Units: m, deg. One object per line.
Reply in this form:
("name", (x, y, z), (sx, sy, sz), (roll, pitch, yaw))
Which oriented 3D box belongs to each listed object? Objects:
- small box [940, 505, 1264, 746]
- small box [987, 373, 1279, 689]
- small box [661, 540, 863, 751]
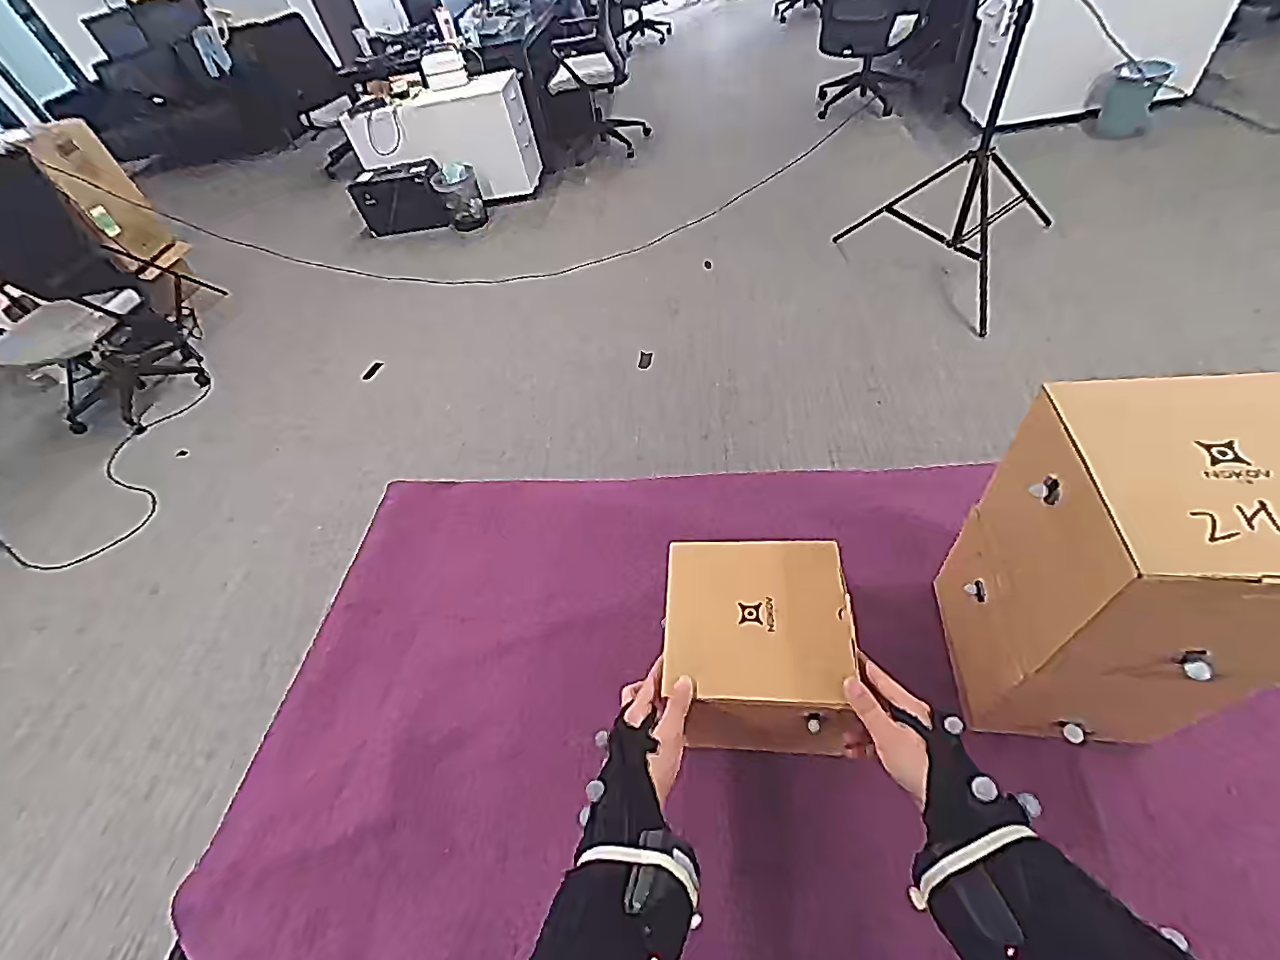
("small box", (0.422, 0.144, 0.542), (0.168, 0.176, 0.179), (0, 51, 12))
("small box", (0.398, 0.040, 0.416), (0.168, 0.176, 0.179), (-1, 51, 12))
("small box", (0.124, 0.179, 0.578), (0.179, 0.176, 0.168), (-2, 50, 10))
